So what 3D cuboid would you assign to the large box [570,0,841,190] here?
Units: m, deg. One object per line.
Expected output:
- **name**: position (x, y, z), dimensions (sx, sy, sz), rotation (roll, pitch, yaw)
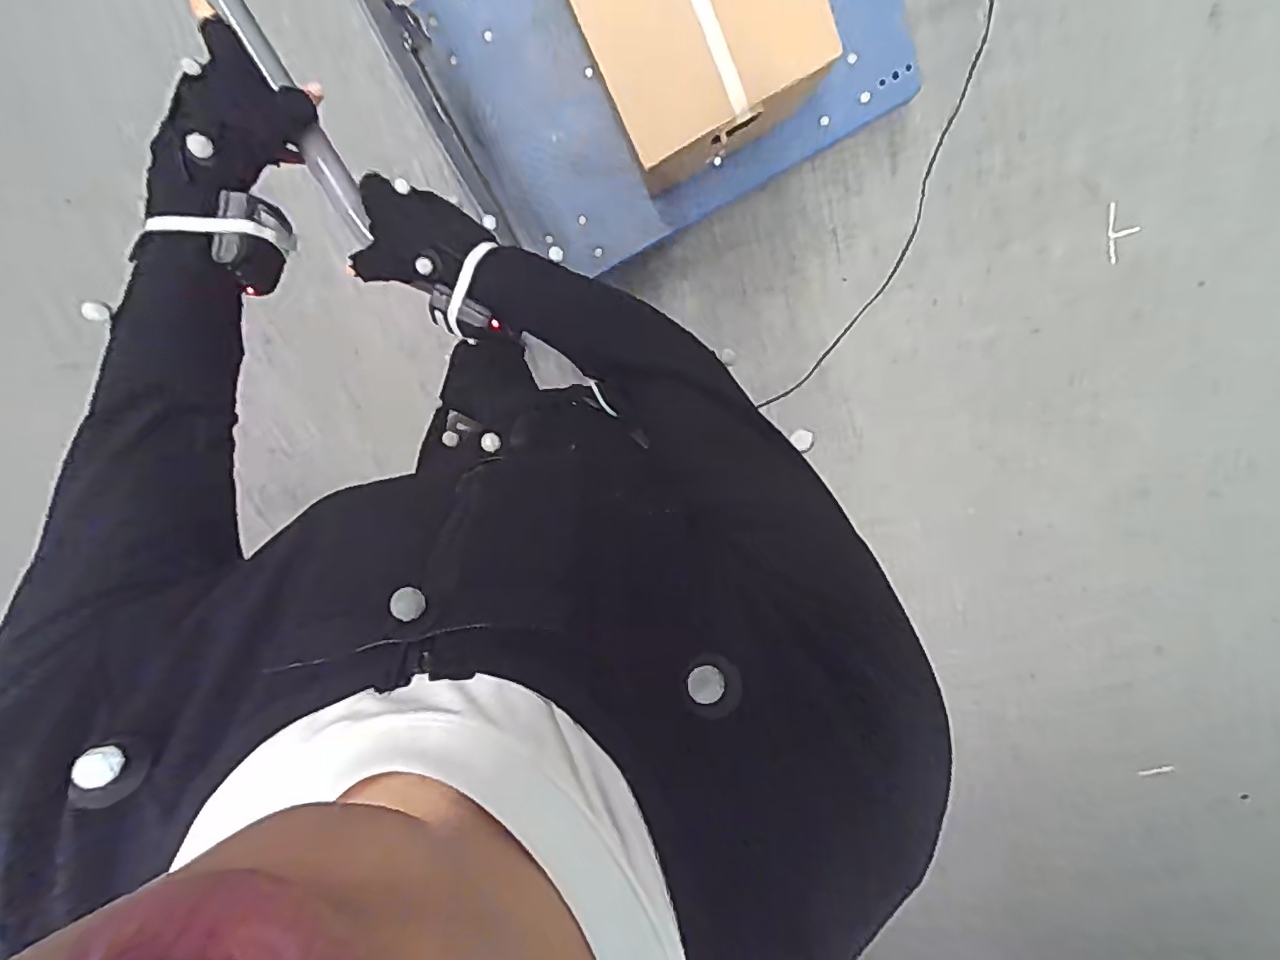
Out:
- **large box**: position (0.068, -0.758, 0.867), dimensions (0.320, 0.320, 0.408), rotation (-25, 107, 11)
